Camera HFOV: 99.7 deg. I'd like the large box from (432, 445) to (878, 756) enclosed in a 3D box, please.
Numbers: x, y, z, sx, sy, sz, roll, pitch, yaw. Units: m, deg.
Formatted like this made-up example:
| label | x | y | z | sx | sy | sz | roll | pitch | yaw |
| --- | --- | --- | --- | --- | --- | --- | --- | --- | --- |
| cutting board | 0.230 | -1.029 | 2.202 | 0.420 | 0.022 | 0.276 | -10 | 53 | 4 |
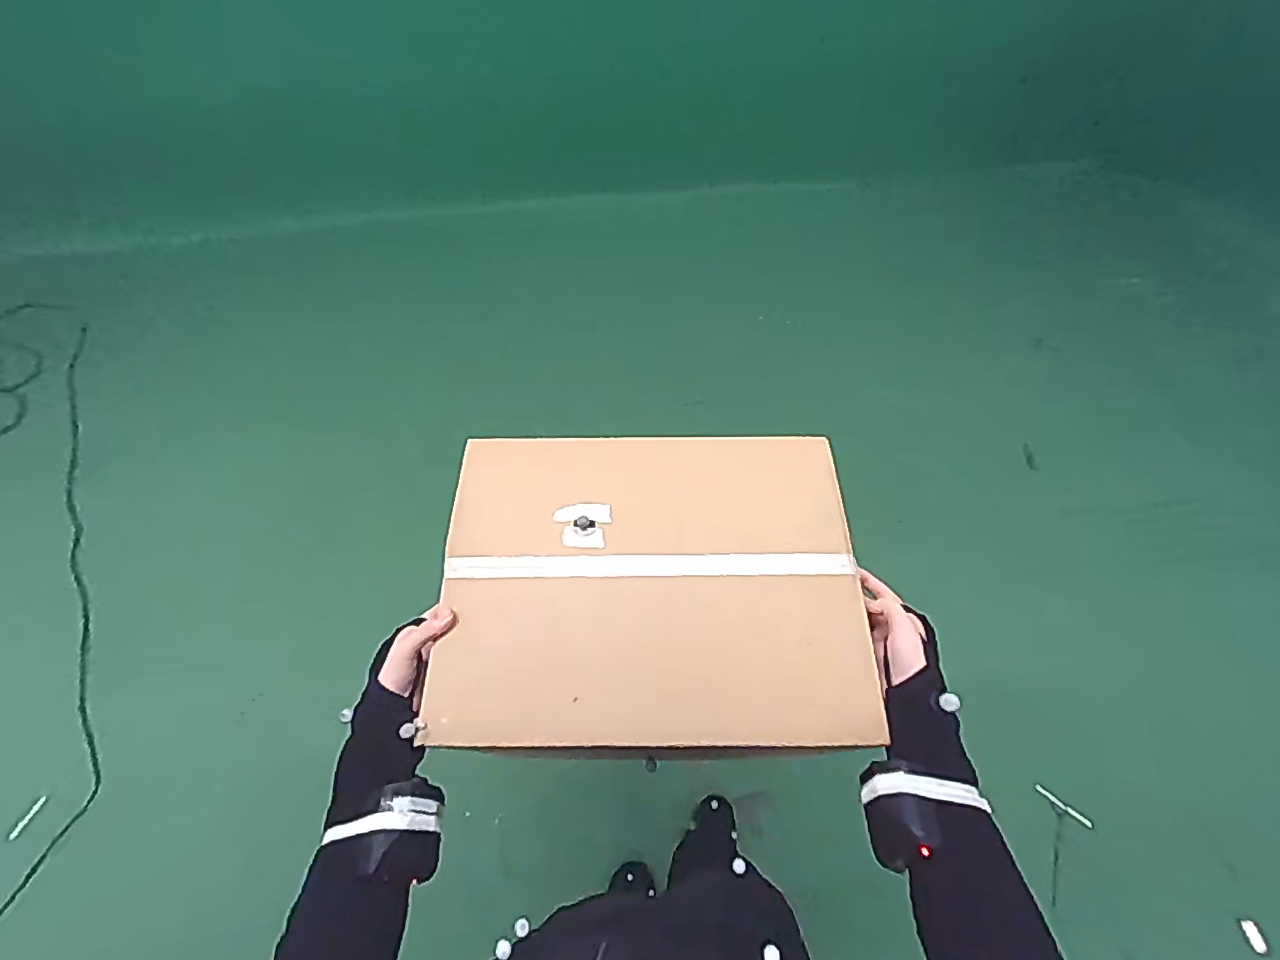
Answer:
| label | x | y | z | sx | sy | sz | roll | pitch | yaw |
| --- | --- | --- | --- | --- | --- | --- | --- | --- | --- |
| large box | 0.016 | 0.169 | 0.677 | 0.408 | 0.320 | 0.320 | -1 | 60 | 2 |
